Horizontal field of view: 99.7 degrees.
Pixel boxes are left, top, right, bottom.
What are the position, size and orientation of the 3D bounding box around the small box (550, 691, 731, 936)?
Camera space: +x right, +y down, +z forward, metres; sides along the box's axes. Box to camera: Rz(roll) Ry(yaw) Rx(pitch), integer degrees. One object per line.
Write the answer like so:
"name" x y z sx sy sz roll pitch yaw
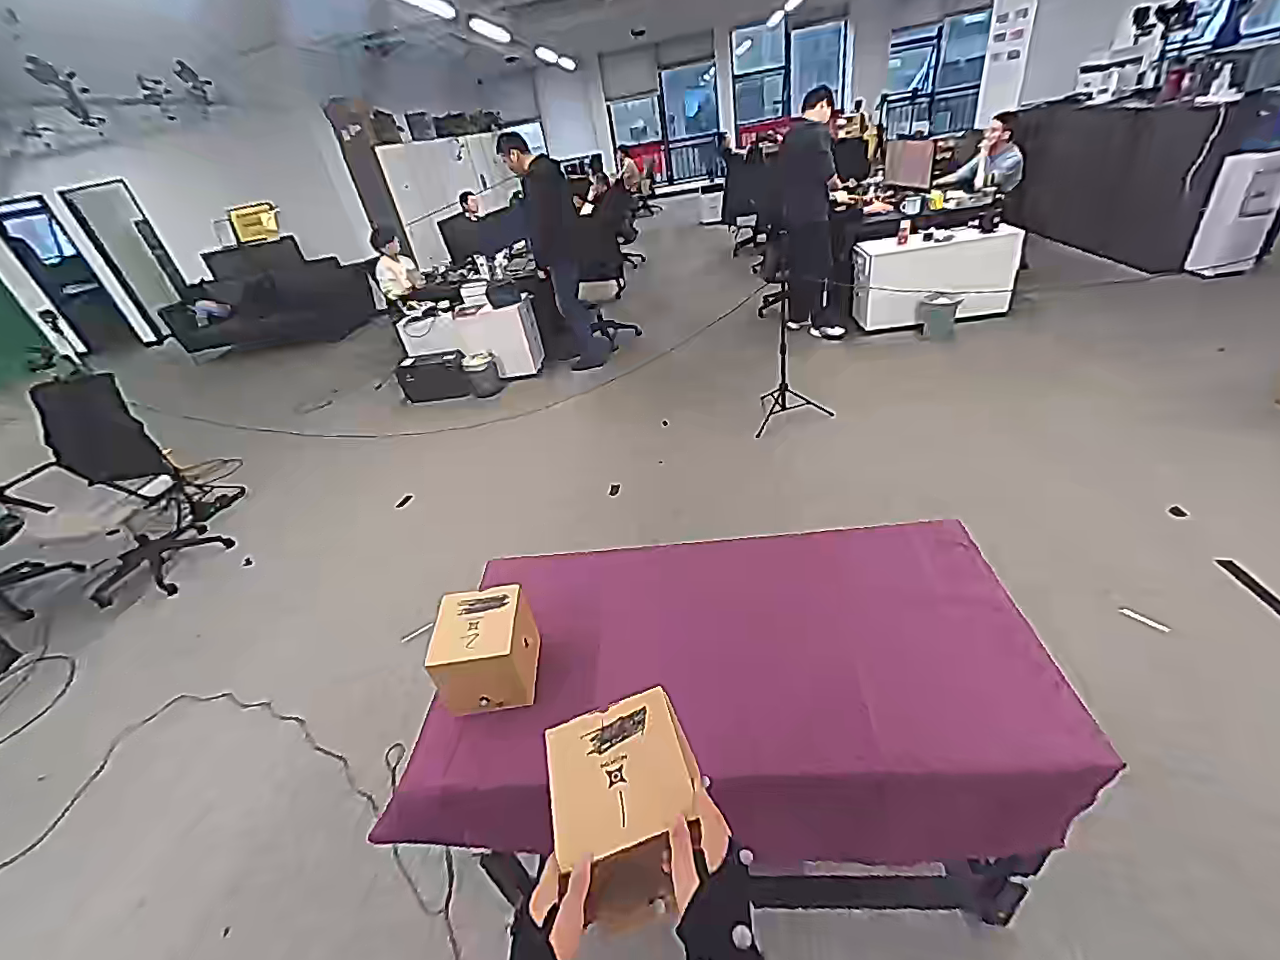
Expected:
"small box" -0.003 0.407 0.671 0.168 0.176 0.179 -21 29 -1
